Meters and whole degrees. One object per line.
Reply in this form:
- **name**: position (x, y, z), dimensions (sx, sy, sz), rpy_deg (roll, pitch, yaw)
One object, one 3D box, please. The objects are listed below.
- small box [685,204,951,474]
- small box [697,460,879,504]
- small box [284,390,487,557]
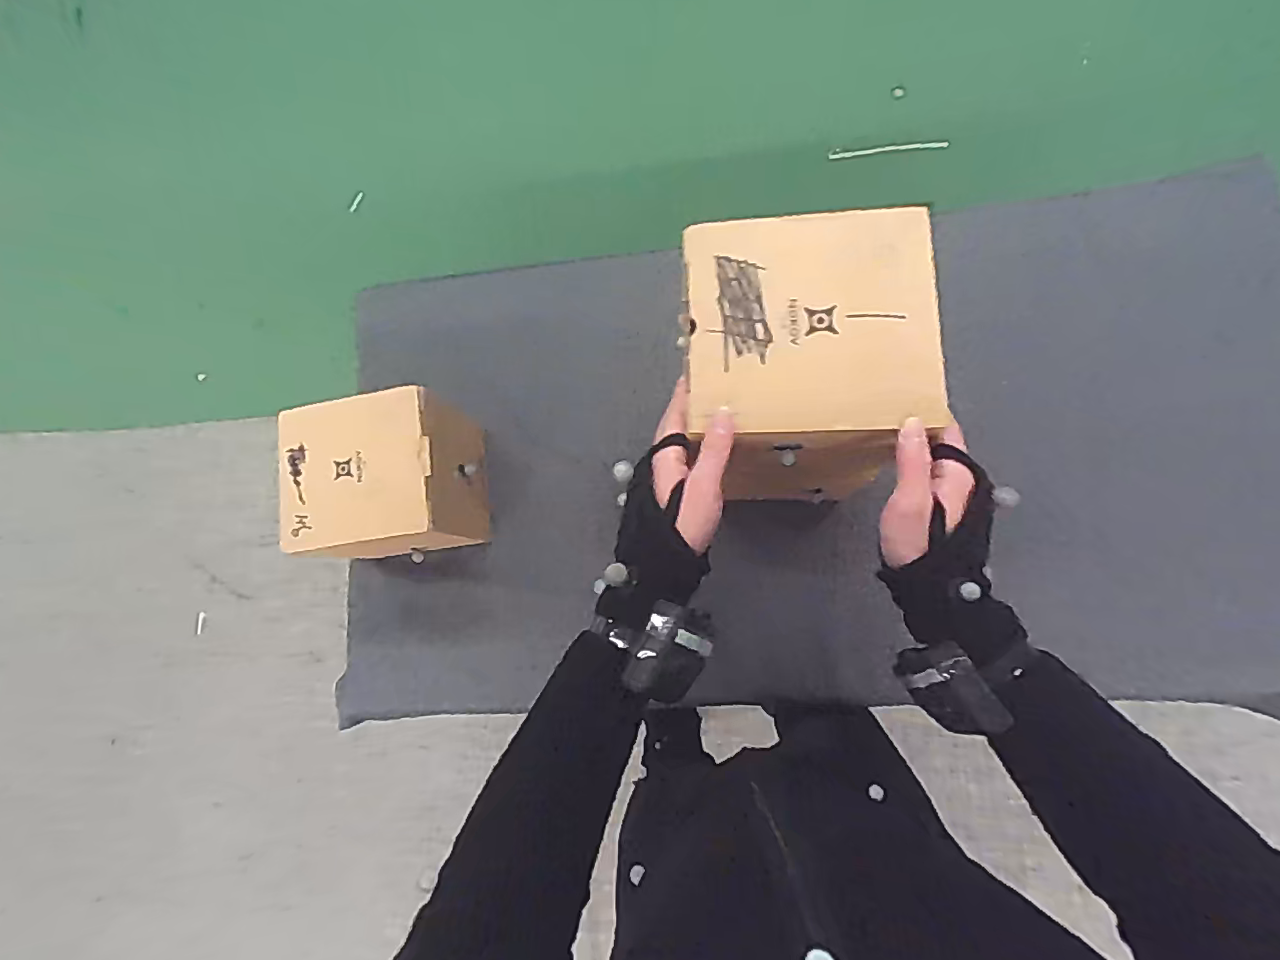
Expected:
- **small box**: position (0.130, -0.100, 0.458), dimensions (0.179, 0.176, 0.168), rpy_deg (-1, 79, 7)
- **small box**: position (0.156, -0.067, 0.618), dimensions (0.179, 0.176, 0.168), rpy_deg (-1, 79, 9)
- **small box**: position (-0.300, 0.002, 0.670), dimensions (0.179, 0.176, 0.168), rpy_deg (-8, 79, 5)
